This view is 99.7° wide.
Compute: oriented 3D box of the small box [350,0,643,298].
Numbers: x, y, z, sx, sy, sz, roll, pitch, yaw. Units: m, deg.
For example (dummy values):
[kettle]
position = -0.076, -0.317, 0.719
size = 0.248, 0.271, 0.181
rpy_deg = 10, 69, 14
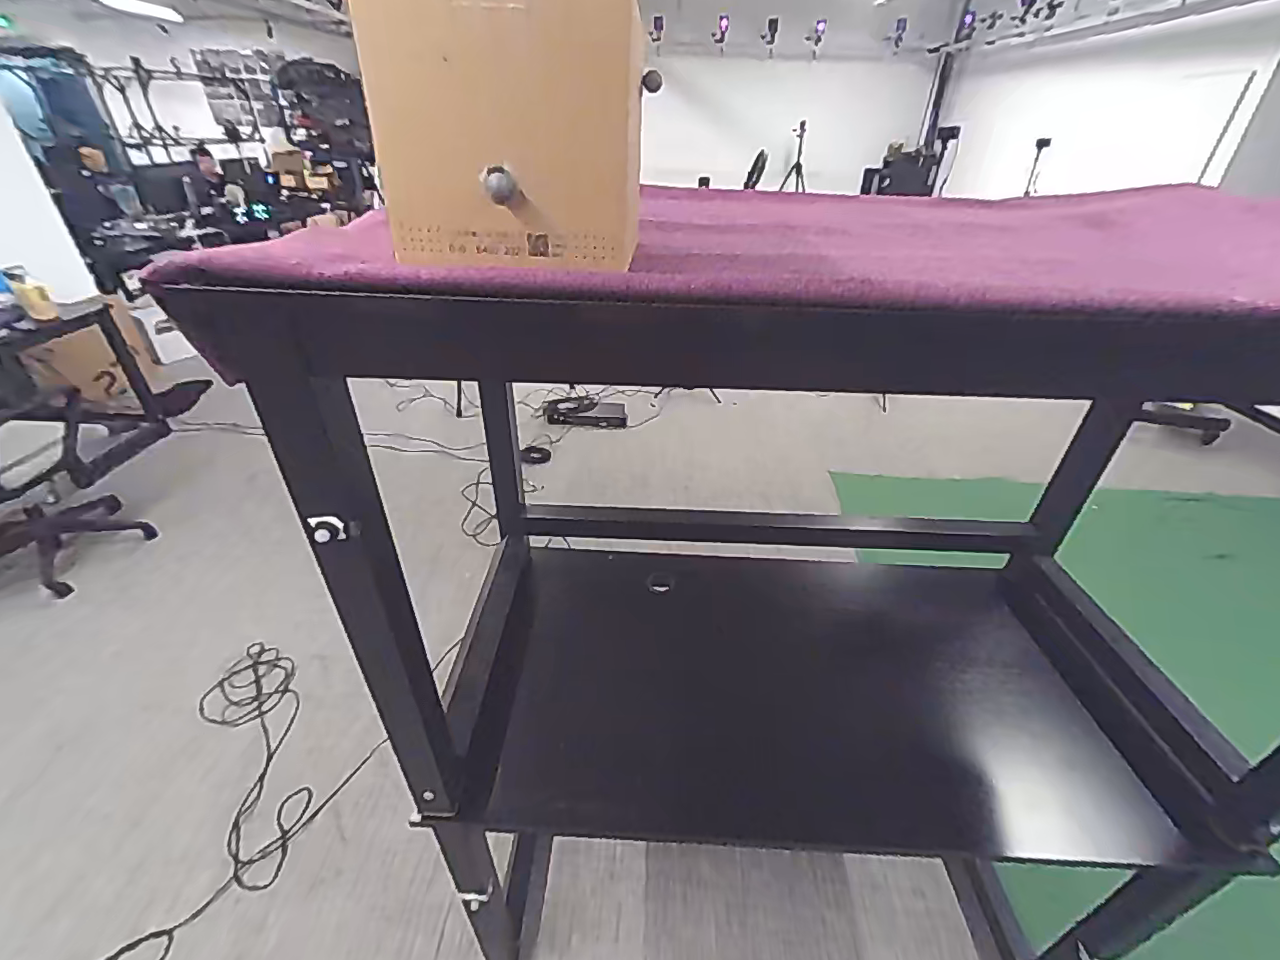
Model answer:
[small box]
position = -0.087, -0.250, 0.417
size = 0.168, 0.176, 0.179
rpy_deg = 3, 33, 1
